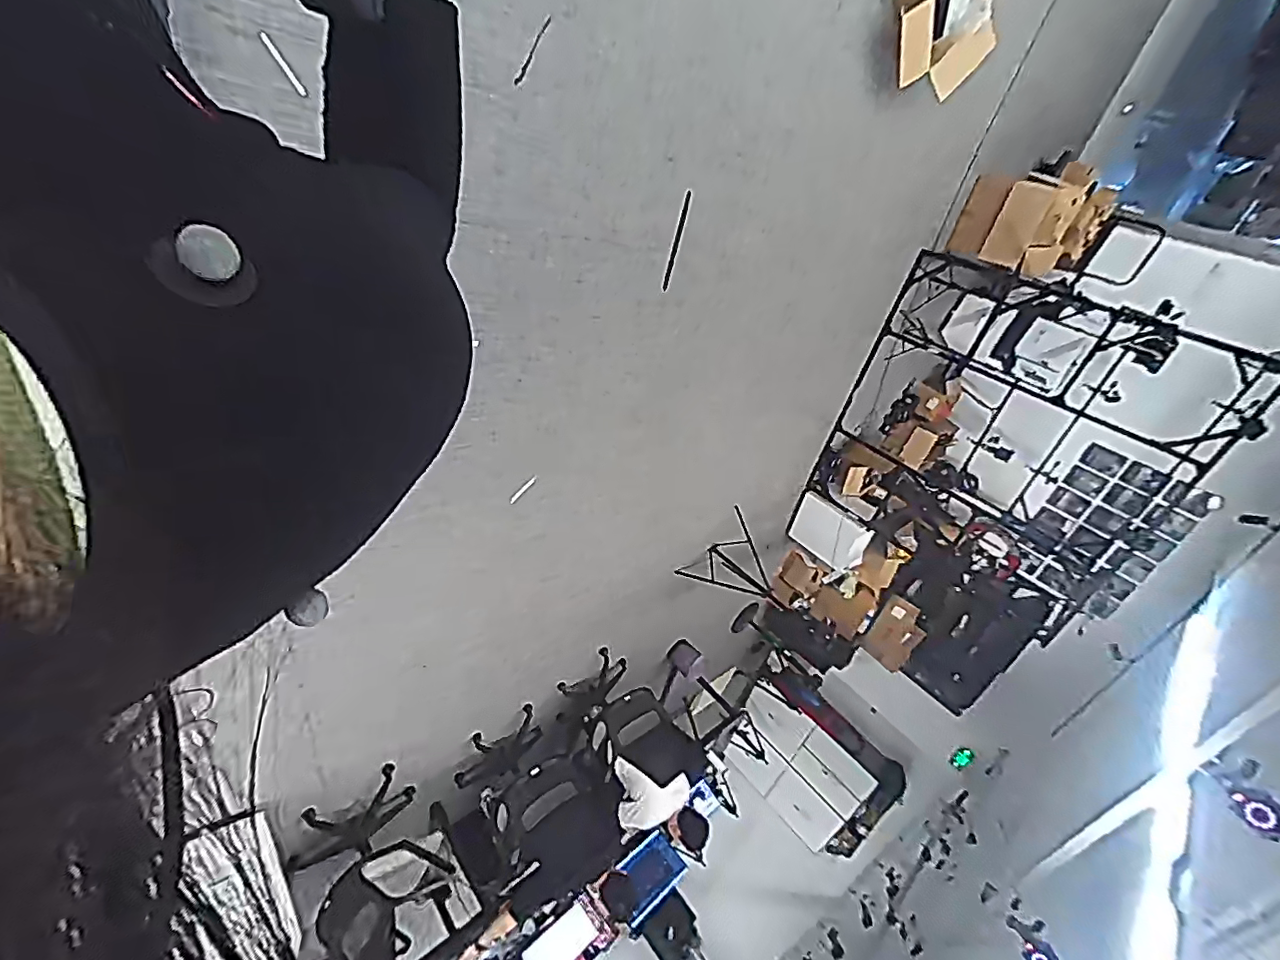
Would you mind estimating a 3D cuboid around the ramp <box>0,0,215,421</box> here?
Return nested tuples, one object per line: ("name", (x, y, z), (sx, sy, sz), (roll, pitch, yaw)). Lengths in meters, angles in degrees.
("ramp", (-1.135, -0.517, 1.000), (0.509, 0.206, 0.991), (-17, 134, -42))
